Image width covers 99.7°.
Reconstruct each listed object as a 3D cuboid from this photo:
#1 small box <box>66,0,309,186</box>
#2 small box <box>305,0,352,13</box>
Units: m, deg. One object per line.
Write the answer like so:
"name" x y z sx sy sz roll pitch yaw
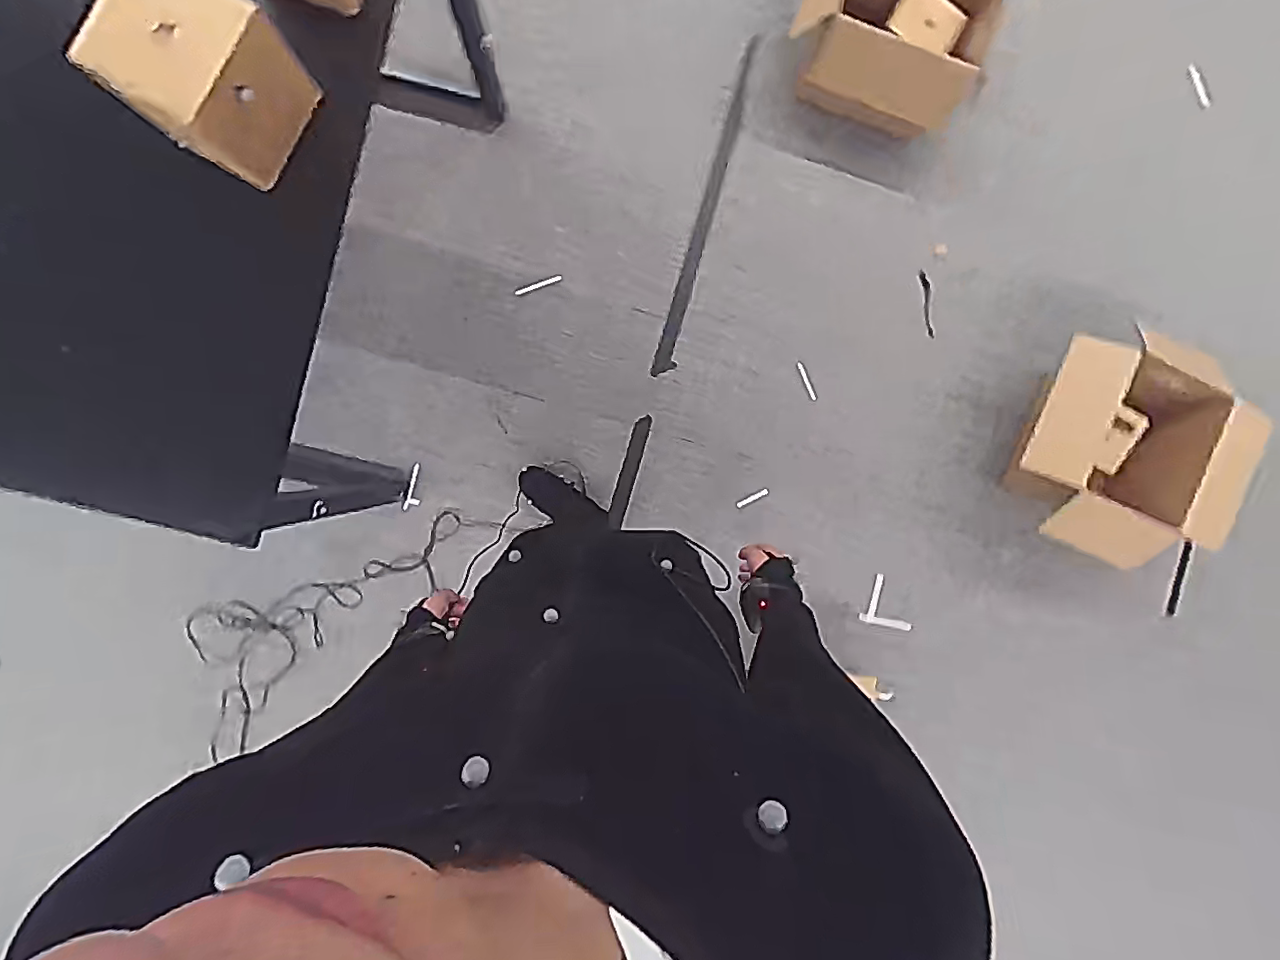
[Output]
"small box" -0.607 -0.563 0.755 0.168 0.176 0.179 28 91 -4
"small box" -0.499 -0.821 0.749 0.168 0.176 0.179 17 92 -4
